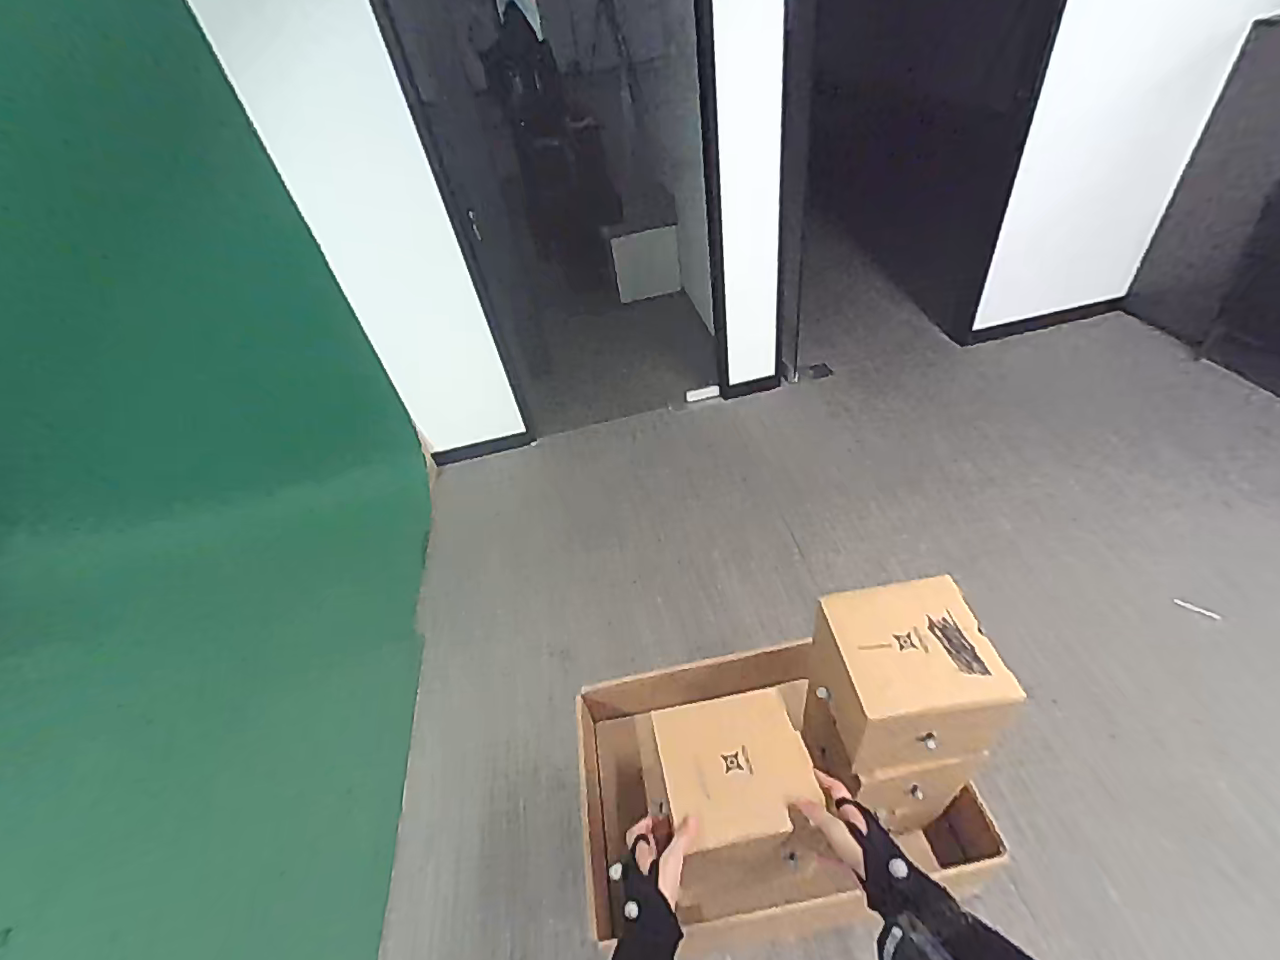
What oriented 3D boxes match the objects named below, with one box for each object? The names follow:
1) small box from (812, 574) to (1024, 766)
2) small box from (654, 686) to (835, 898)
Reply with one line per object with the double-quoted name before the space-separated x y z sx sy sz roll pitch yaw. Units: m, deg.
"small box" 0.336 0.246 0.698 0.179 0.176 0.168 -10 43 2
"small box" 0.117 0.392 0.684 0.179 0.176 0.168 -8 37 -6
